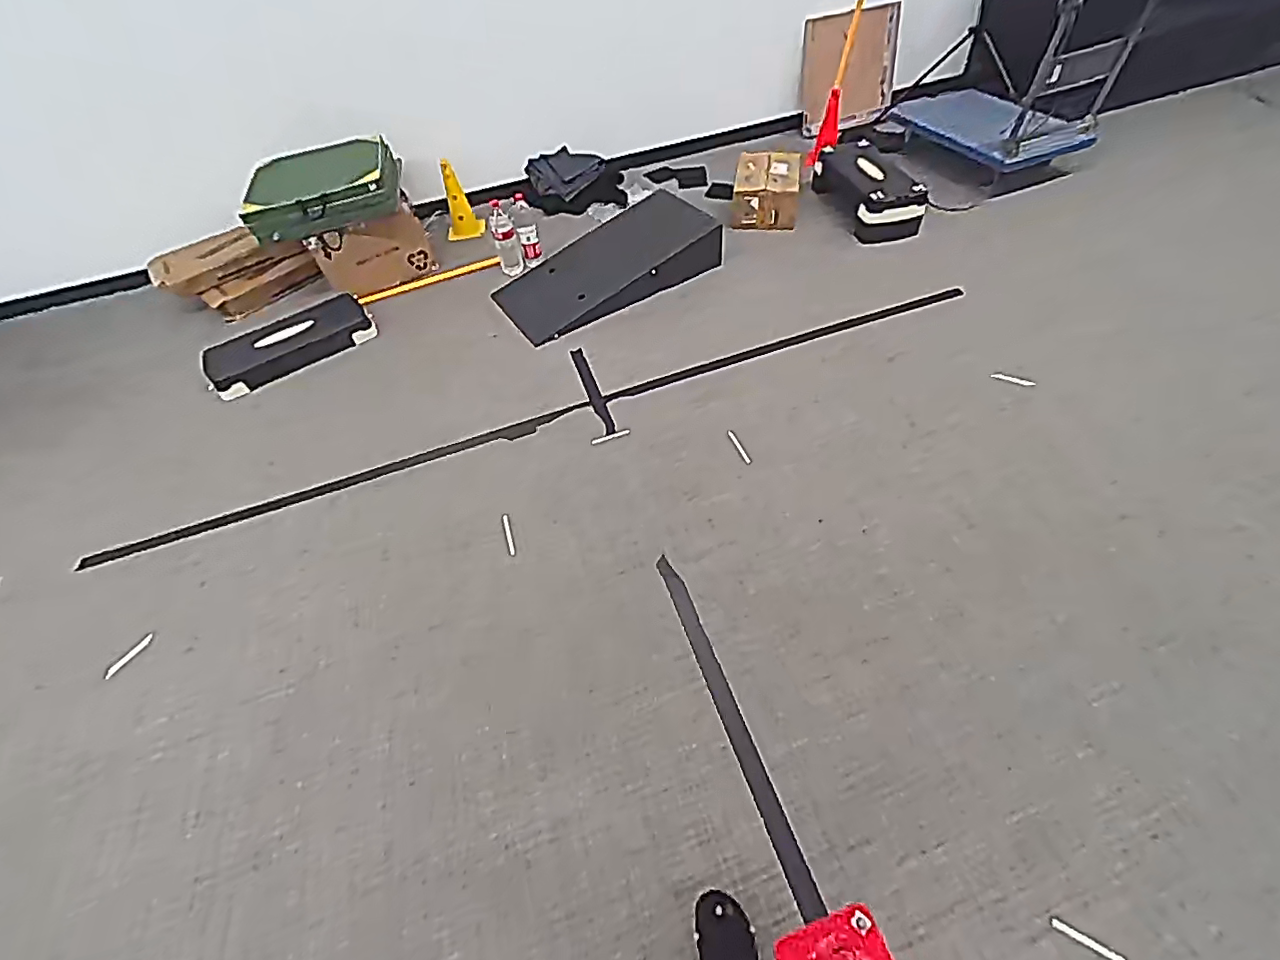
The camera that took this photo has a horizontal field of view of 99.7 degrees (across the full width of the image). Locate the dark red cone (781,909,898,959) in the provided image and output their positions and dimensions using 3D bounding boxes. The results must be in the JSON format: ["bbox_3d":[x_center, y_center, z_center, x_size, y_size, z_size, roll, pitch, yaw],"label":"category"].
[{"bbox_3d":[0.355,0.795,0.810,0.201,0.394,0.202,-19,52,-8],"label":"dark red cone"}]
